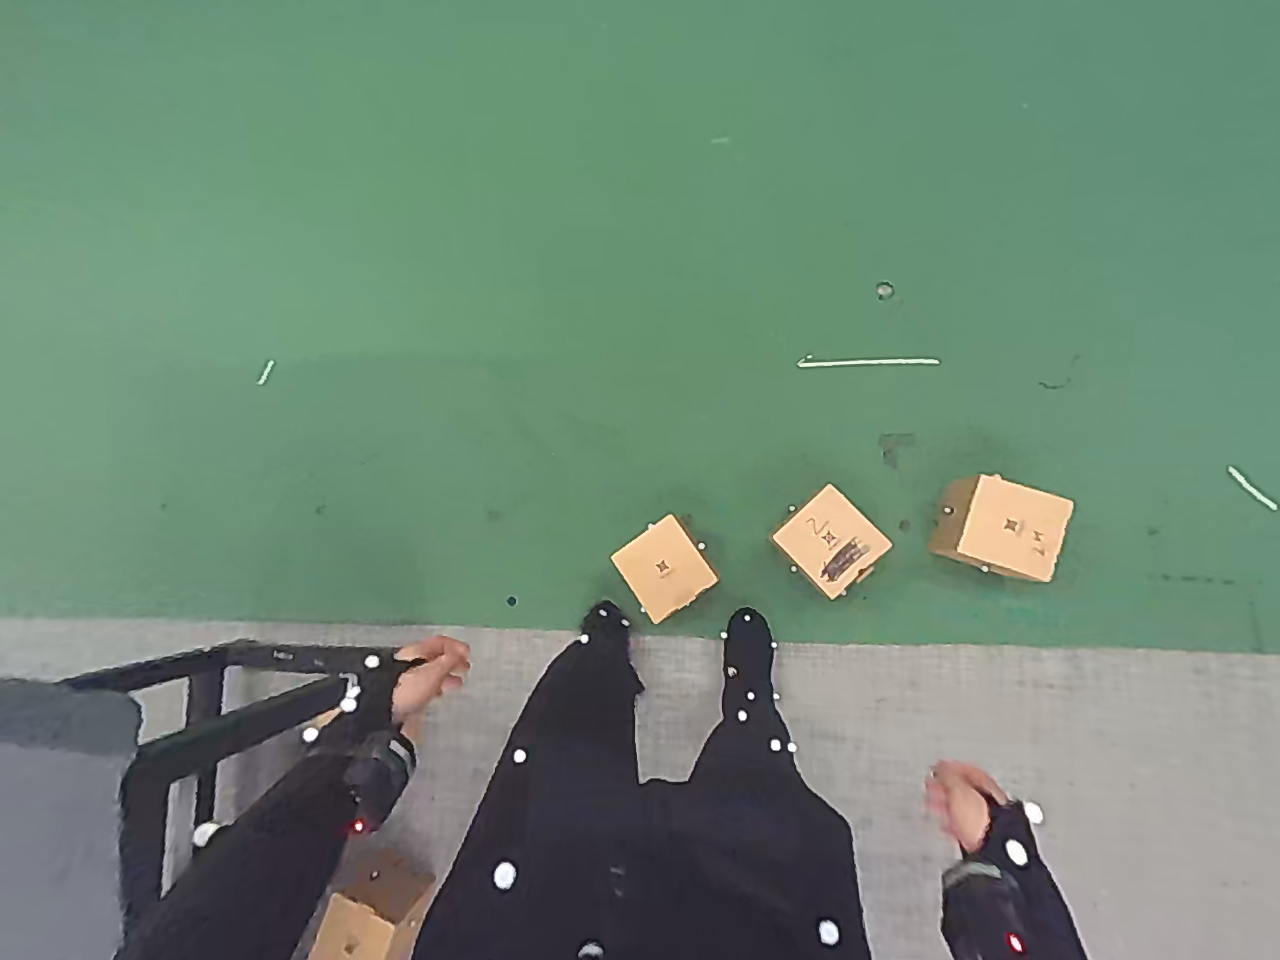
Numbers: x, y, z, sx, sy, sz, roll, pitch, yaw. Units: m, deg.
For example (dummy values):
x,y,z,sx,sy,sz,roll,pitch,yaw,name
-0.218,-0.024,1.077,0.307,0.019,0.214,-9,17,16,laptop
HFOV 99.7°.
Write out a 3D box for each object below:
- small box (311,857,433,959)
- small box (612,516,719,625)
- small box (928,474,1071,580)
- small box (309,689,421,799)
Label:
x,y,z,sx,sy,sz,roll,pitch,yaw,name
-0.606,1.021,1.241,0.168,0.176,0.179,19,89,11,small box
0.062,0.200,1.225,0.168,0.176,0.179,-36,81,3,small box
0.738,0.100,1.132,0.179,0.176,0.168,19,88,9,small box
-0.643,0.618,1.285,0.168,0.176,0.179,5,84,8,small box
